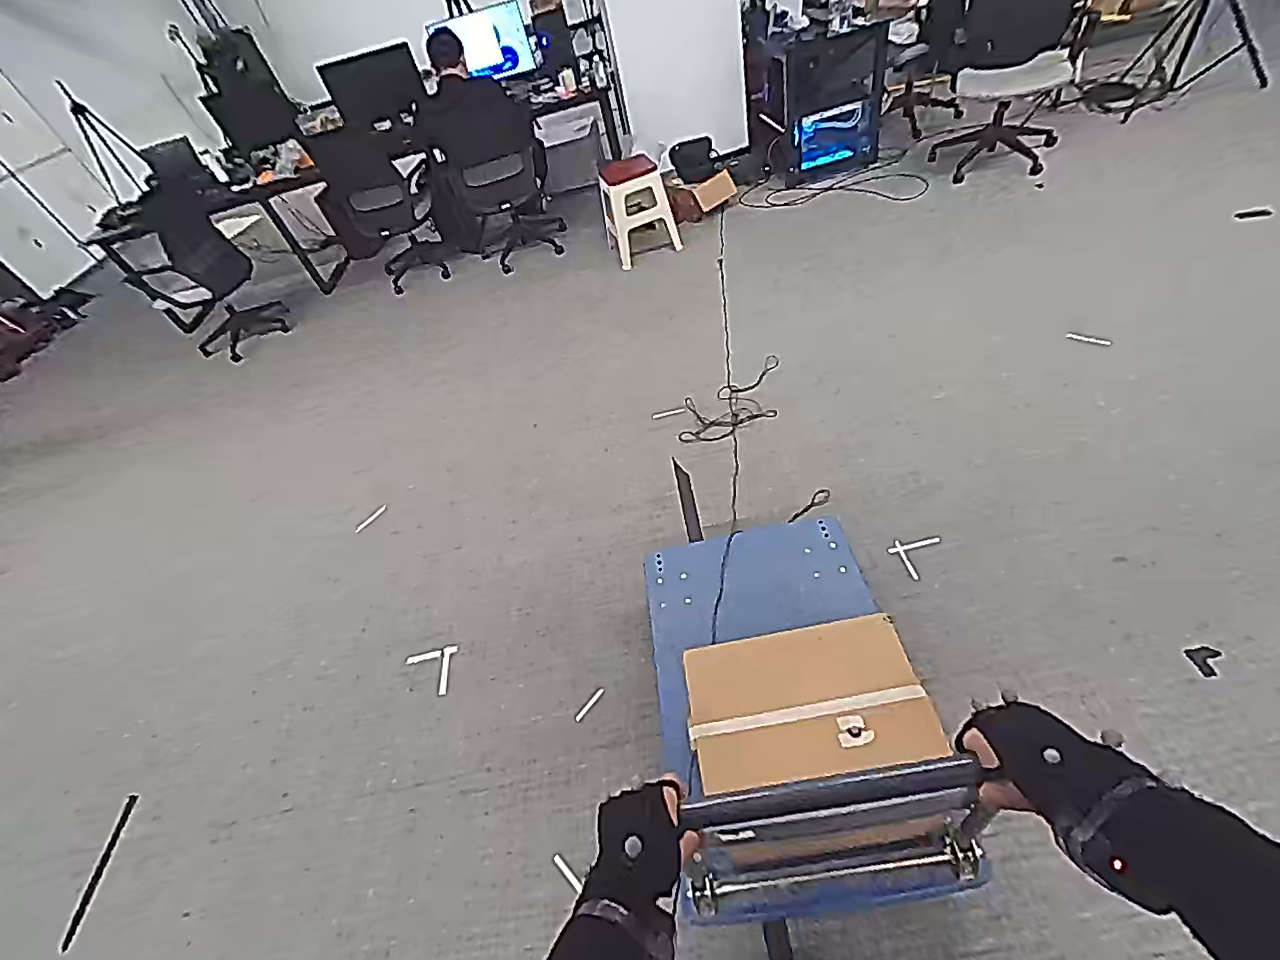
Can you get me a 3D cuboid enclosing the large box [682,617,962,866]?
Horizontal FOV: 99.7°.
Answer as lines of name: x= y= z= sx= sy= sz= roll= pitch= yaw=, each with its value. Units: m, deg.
large box: x=0.318 y=0.513 z=1.051 sx=0.408 sy=0.320 sz=0.320 roll=-12 pitch=47 yaw=5
